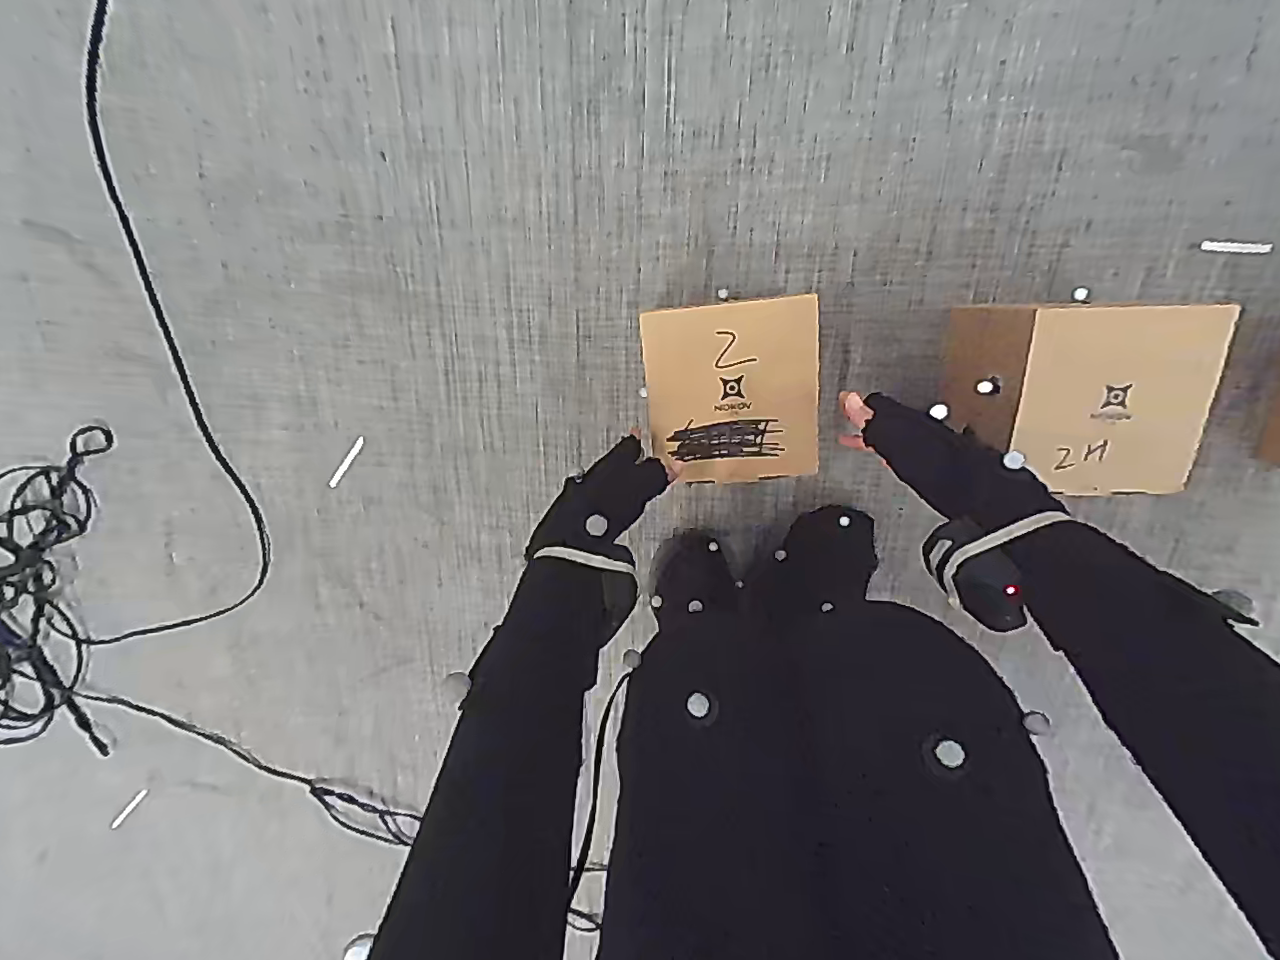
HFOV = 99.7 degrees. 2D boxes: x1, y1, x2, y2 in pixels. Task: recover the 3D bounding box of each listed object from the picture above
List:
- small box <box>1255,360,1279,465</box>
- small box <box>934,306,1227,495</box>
[{"bbox_3d":[0.814,-0.080,0.555,0.168,0.176,0.179,-2,107,5],"label":"small box"},{"bbox_3d":[0.441,-0.094,0.580,0.168,0.176,0.179,1,109,6],"label":"small box"}]
